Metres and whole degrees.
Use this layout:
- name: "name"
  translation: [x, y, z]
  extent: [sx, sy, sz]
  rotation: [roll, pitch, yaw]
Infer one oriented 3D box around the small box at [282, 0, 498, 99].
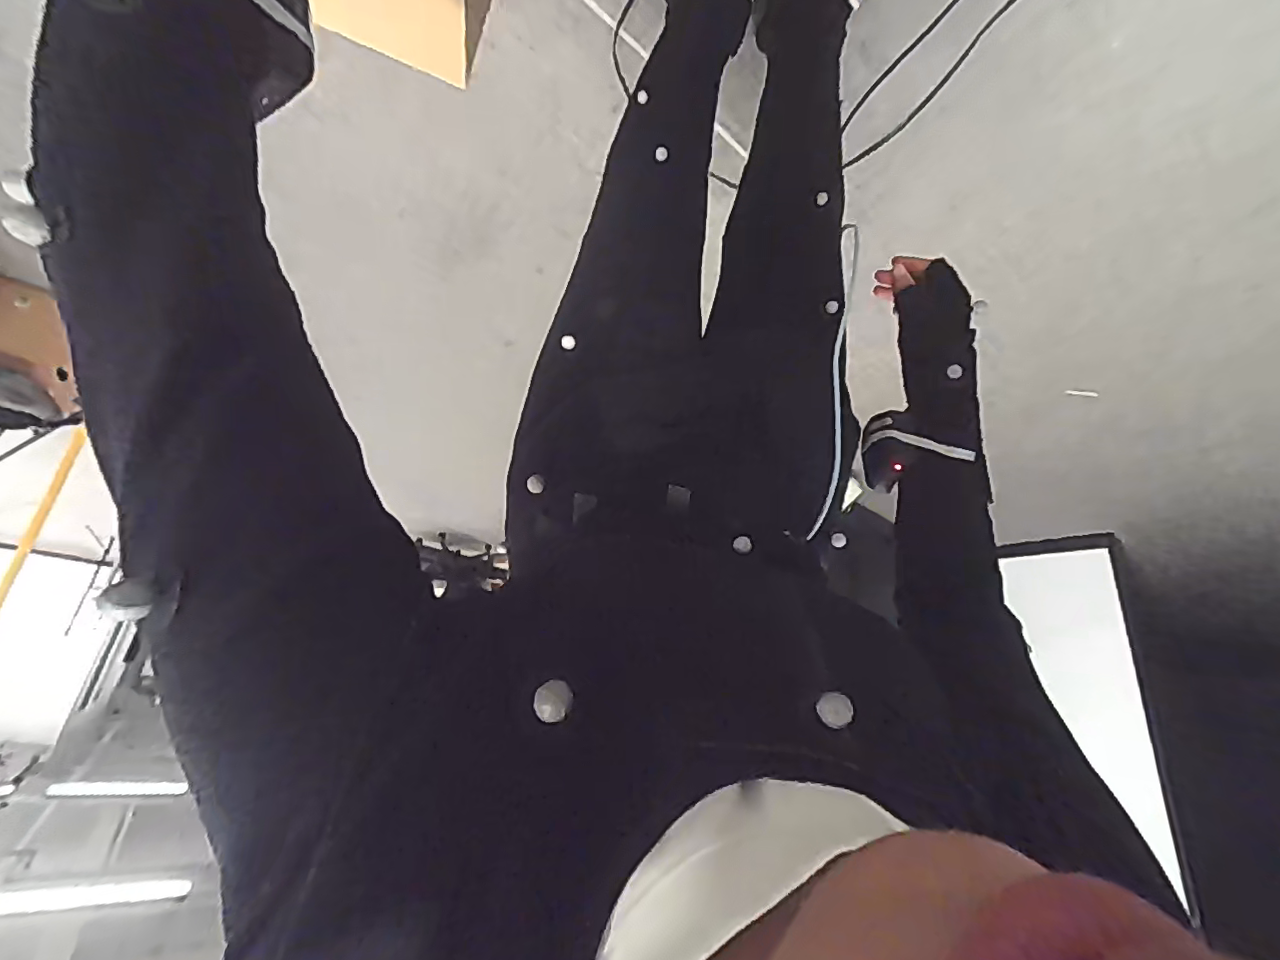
- name: "small box"
  translation: [-0.197, -0.471, 0.433]
  extent: [0.168, 0.176, 0.179]
  rotation: [15, 178, -16]
